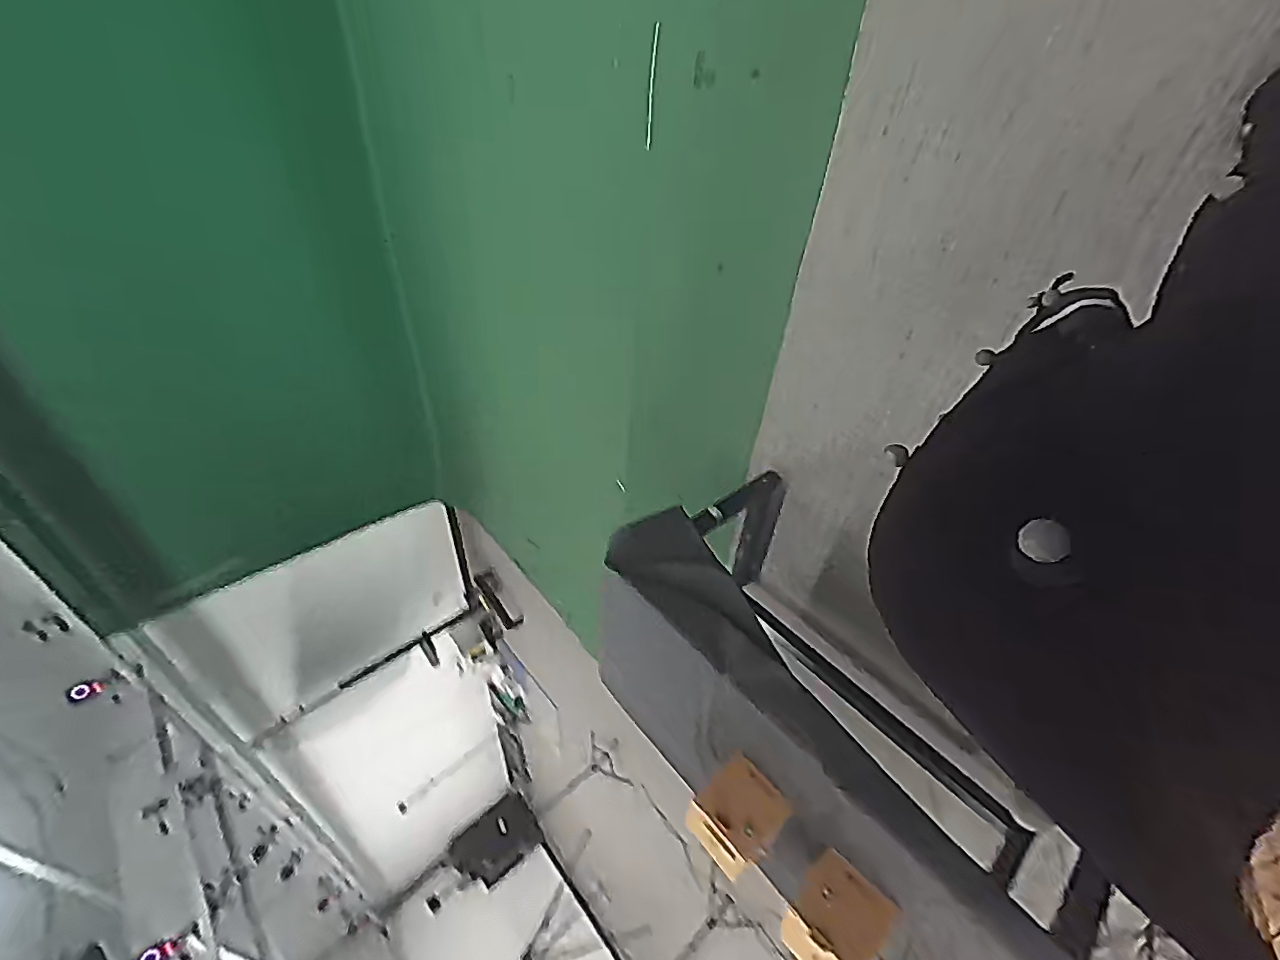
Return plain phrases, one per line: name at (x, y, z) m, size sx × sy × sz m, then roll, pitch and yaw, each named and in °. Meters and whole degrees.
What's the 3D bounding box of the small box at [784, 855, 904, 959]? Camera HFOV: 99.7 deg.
small box at (0.423, 0.938, 1.125) m, size 0.168 × 0.176 × 0.179 m, roll 30°, pitch 136°, yaw 43°
